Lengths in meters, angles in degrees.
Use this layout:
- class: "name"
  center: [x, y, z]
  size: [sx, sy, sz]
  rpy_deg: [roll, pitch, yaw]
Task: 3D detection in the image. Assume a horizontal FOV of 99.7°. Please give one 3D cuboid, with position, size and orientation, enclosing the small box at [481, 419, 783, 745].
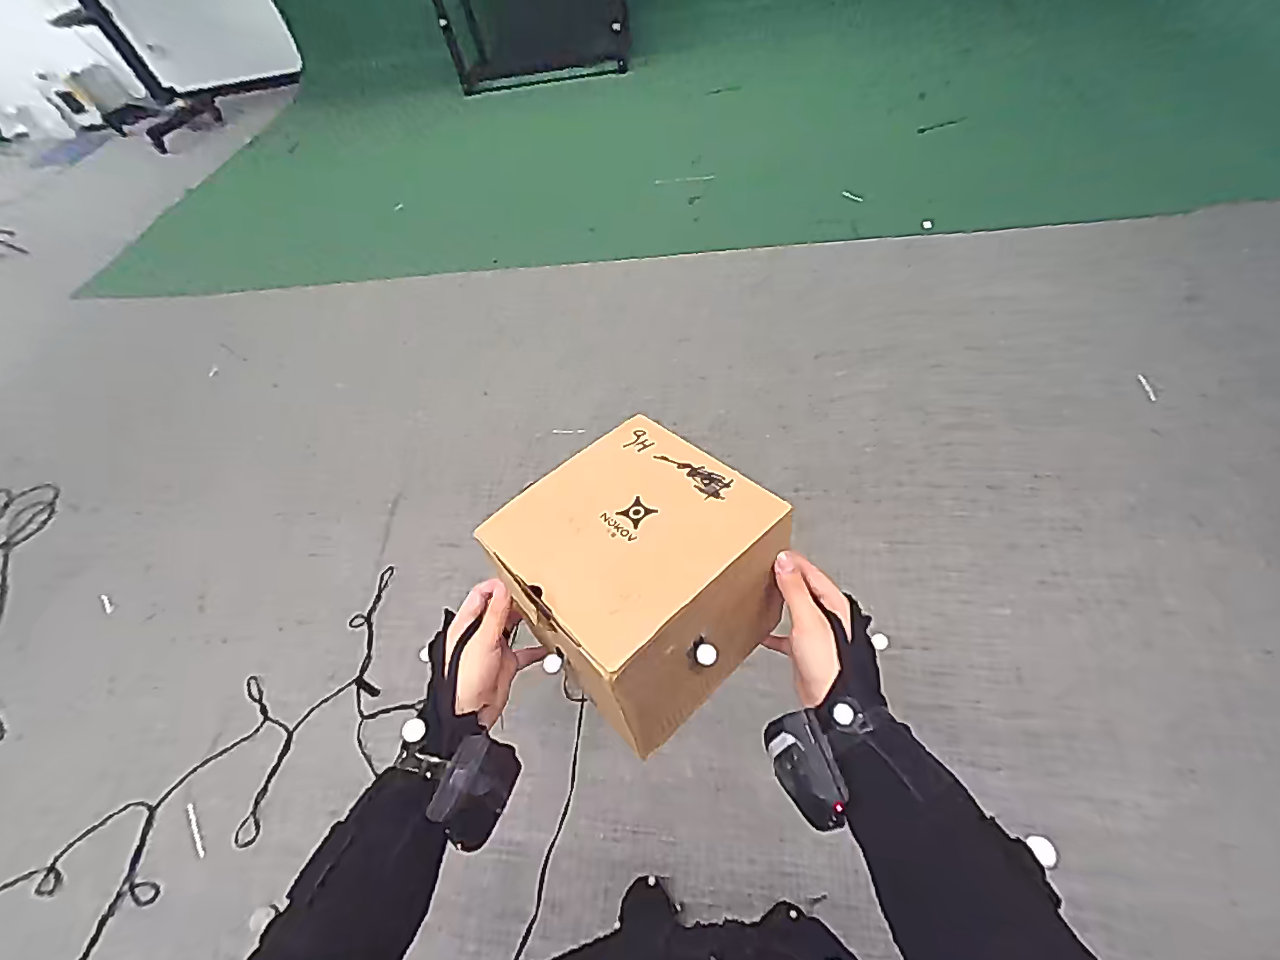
- class: "small box"
  center: [0.003, 0.086, 0.461]
  size: [0.179, 0.176, 0.168]
  rpy_deg: [-38, 52, -22]
